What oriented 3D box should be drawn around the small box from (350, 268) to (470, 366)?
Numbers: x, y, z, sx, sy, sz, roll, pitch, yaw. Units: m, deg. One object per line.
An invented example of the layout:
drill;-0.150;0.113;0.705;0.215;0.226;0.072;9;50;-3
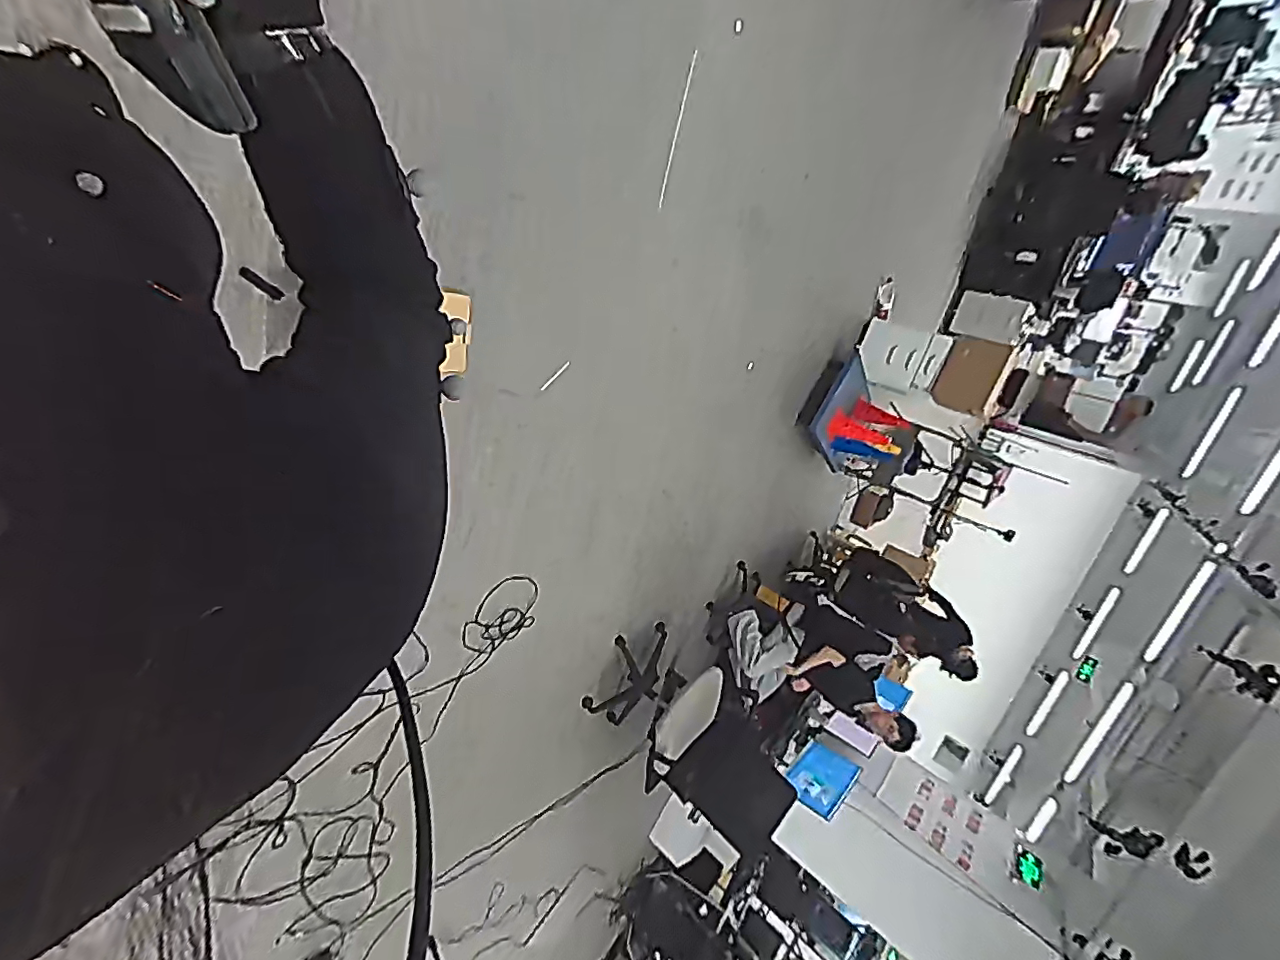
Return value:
small box;-0.490;-0.345;1.150;0.179;0.176;0.168;-13;122;-48
